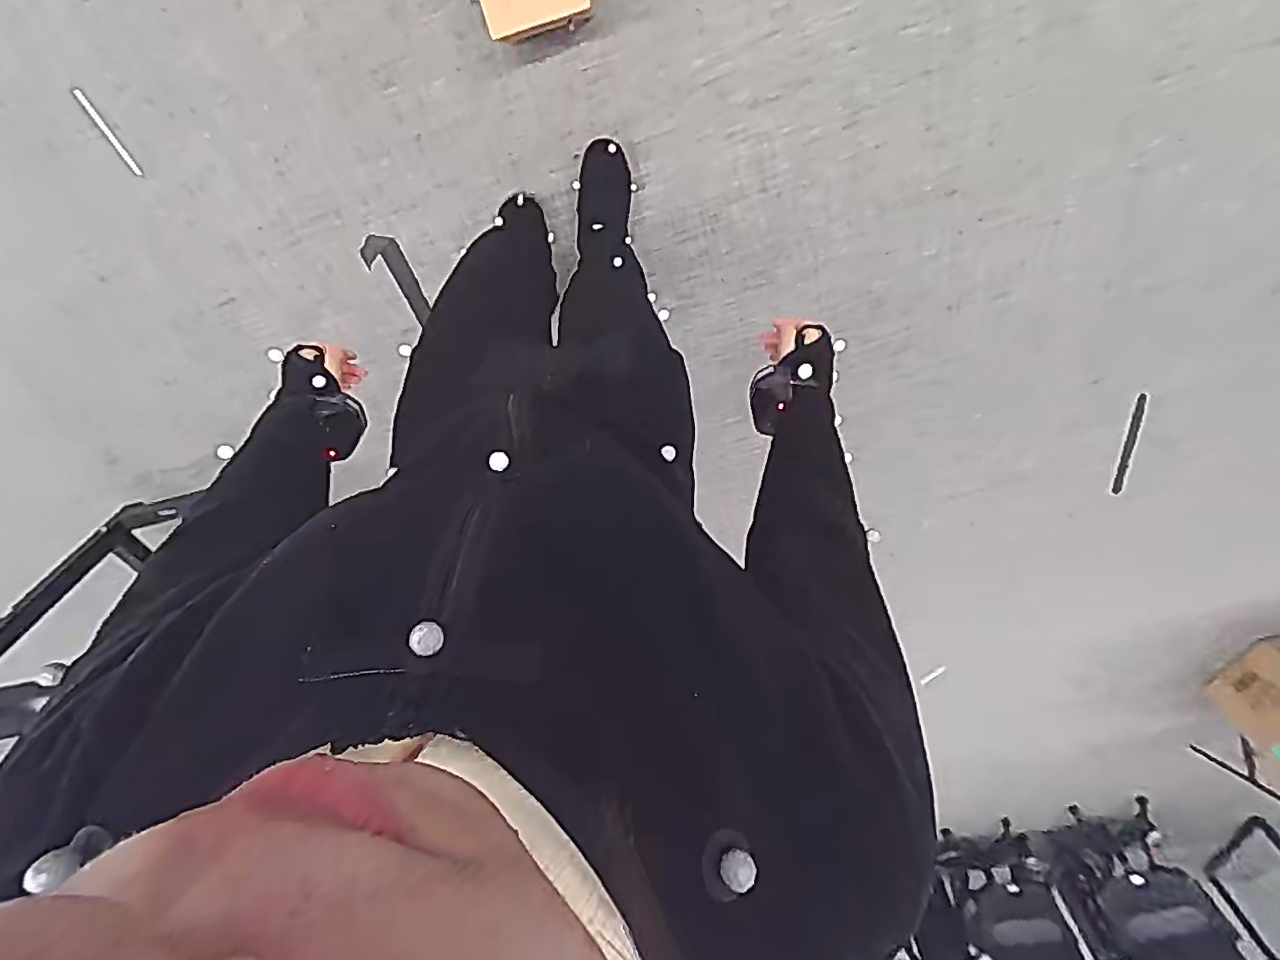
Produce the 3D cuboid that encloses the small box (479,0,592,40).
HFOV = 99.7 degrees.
[{"bbox_3d":[-0.183,-0.857,0.896,0.179,0.176,0.168,-12,127,7],"label":"small box"}]
